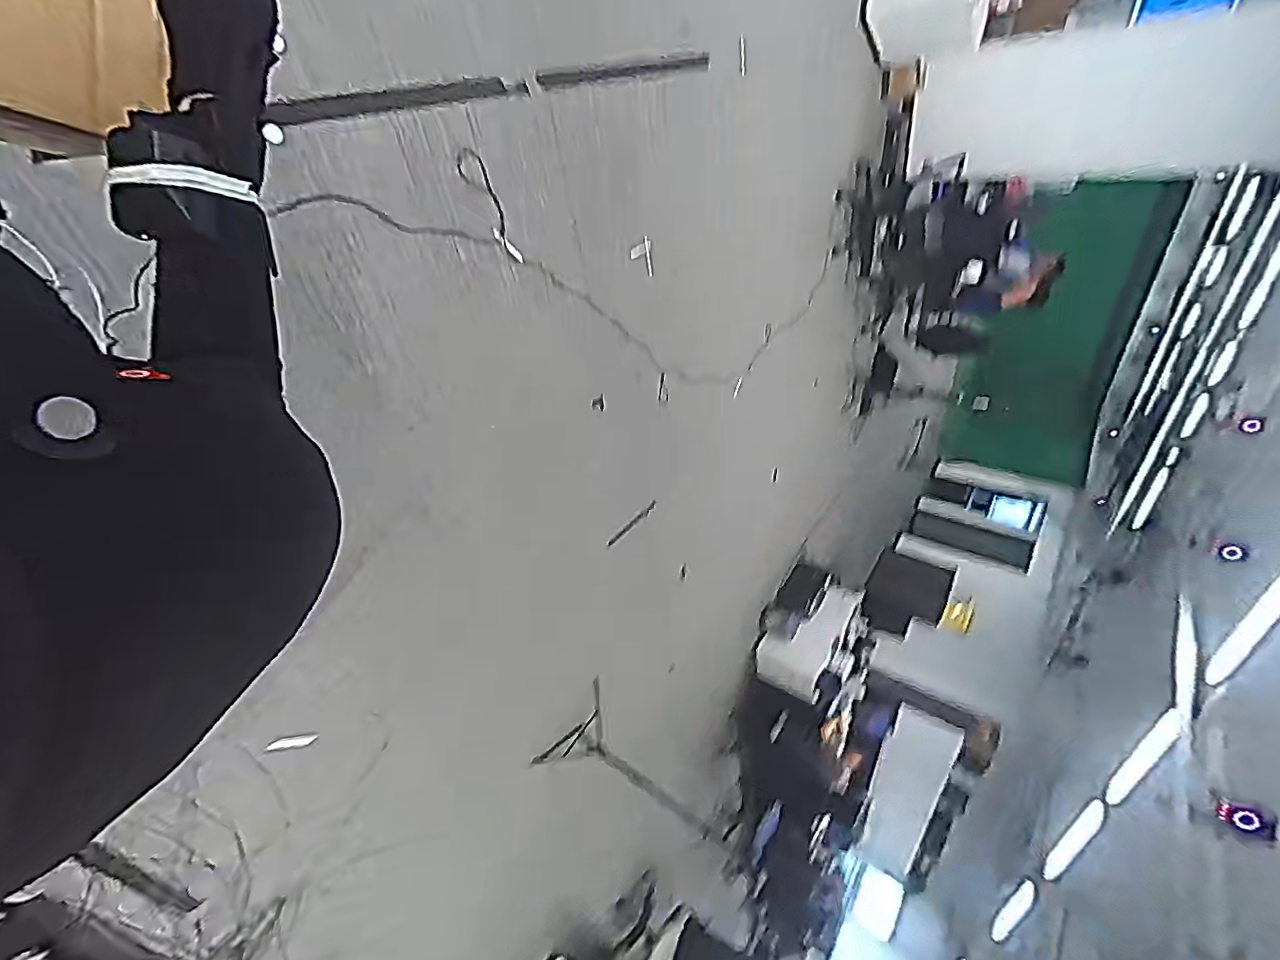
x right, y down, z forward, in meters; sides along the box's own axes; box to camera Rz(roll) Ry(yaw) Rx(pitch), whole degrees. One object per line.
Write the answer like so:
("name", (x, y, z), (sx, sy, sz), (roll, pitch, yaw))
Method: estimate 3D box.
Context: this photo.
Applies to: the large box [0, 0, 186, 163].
("large box", (-0.539, -0.401, 0.277), (0.408, 0.320, 0.320), (-9, 117, -55))
